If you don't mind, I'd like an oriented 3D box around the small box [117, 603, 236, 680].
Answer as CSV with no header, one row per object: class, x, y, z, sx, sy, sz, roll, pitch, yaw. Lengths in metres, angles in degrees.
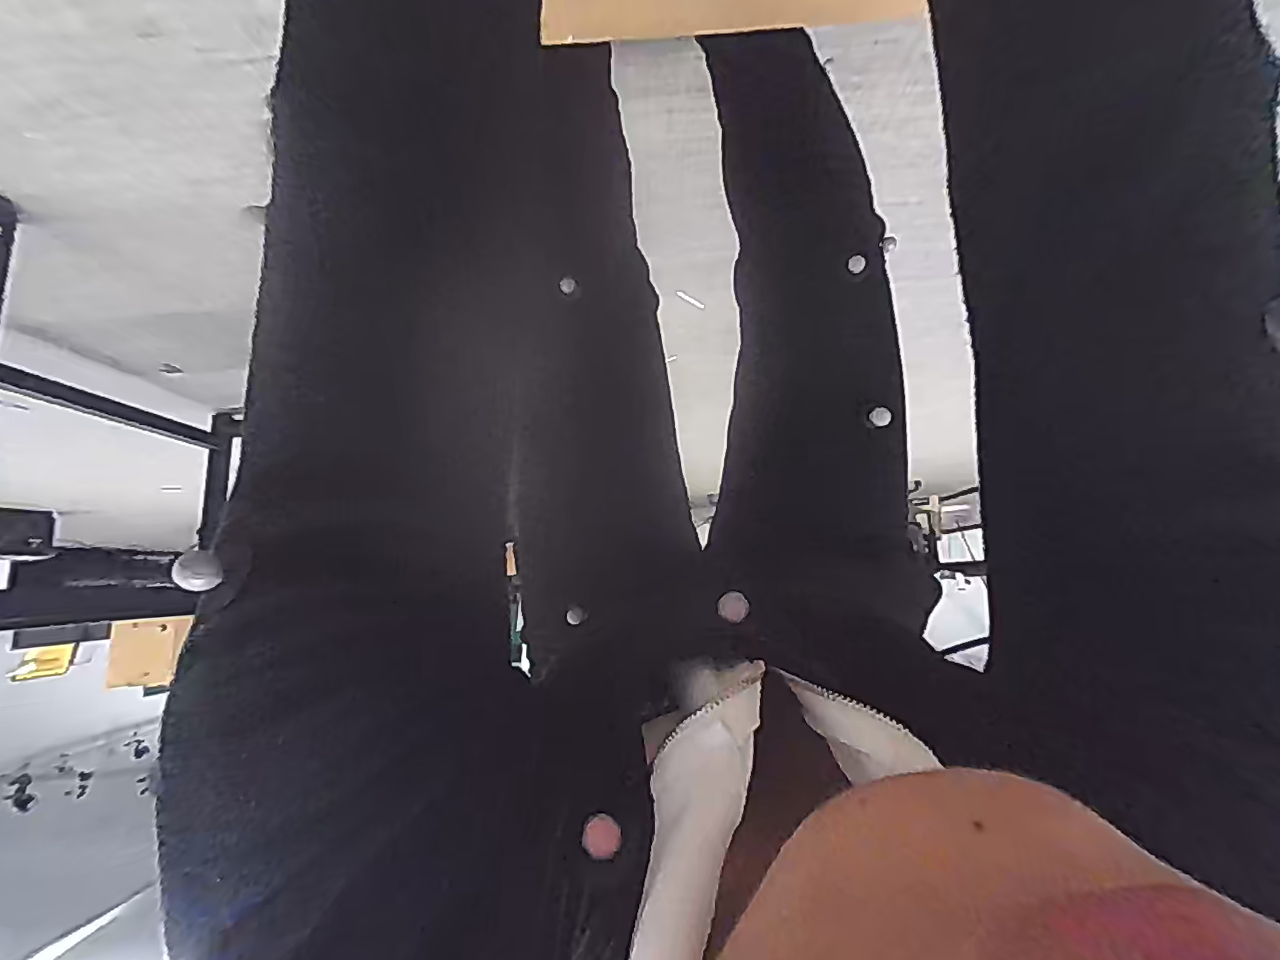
small box,-1.208,0.418,1.420,0.168,0.176,0.179,-3,171,2
